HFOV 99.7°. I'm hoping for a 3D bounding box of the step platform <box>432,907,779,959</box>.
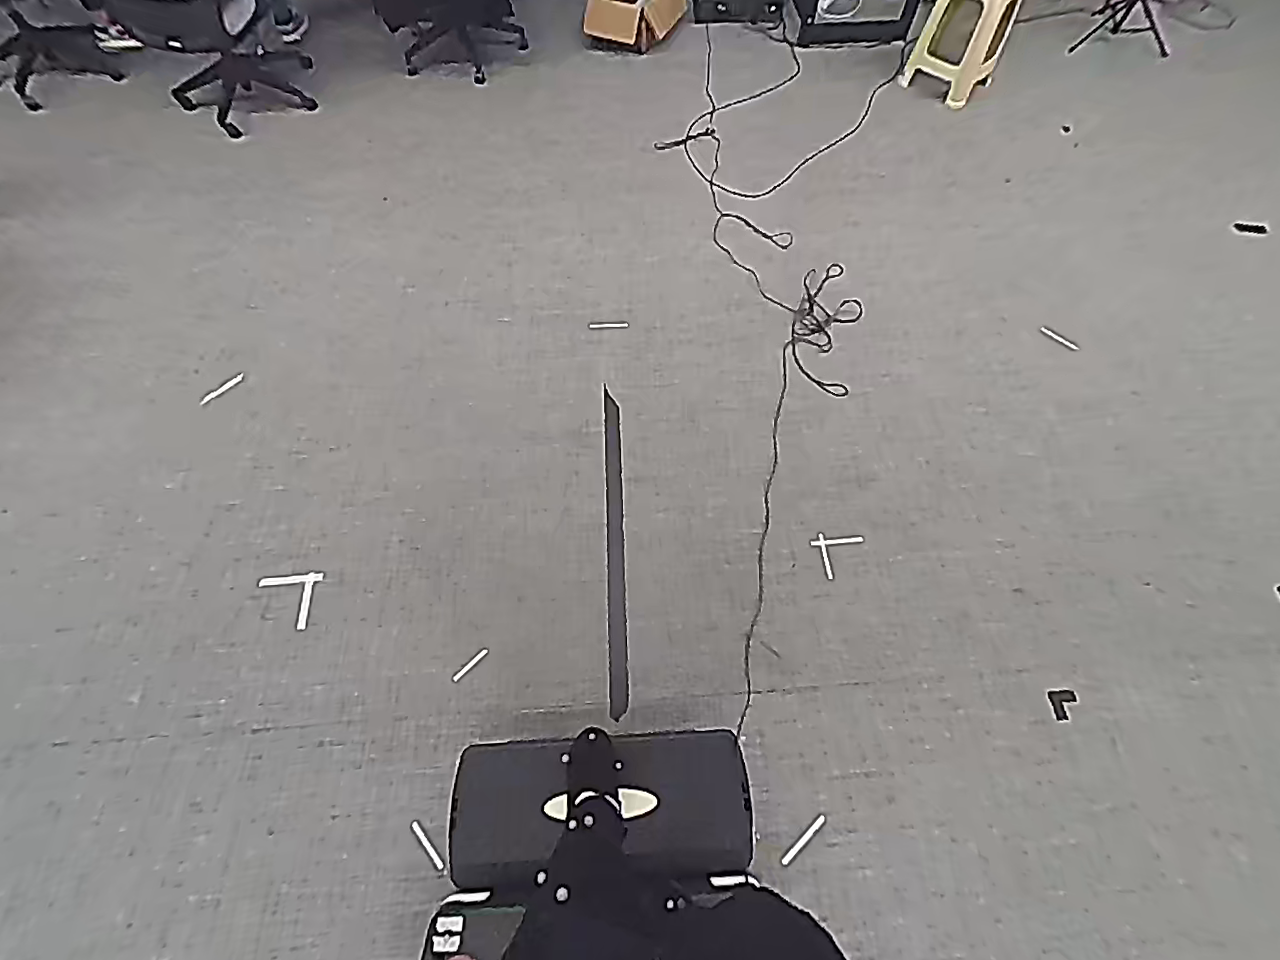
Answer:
[{"bbox_3d":[-0.065,1.011,1.021,0.684,0.204,0.286,0,60,2],"label":"step platform"}]
